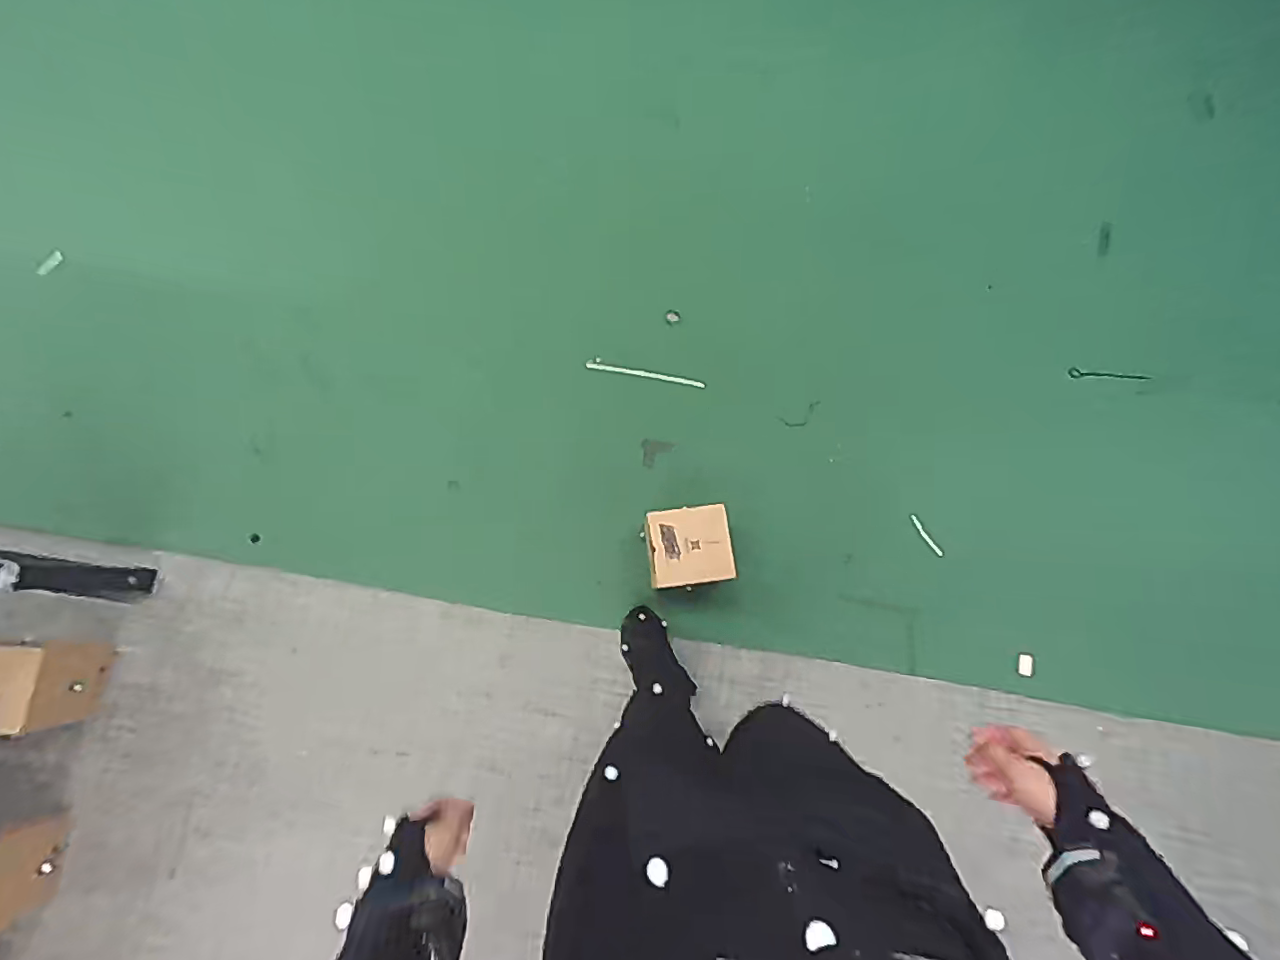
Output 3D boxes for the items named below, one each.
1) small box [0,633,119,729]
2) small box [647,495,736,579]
[{"bbox_3d":[-1.289,0.421,1.158,0.179,0.176,0.168,4,79,-1],"label":"small box"},{"bbox_3d":[0.111,0.138,1.255,0.179,0.176,0.168,-7,80,-4],"label":"small box"}]
